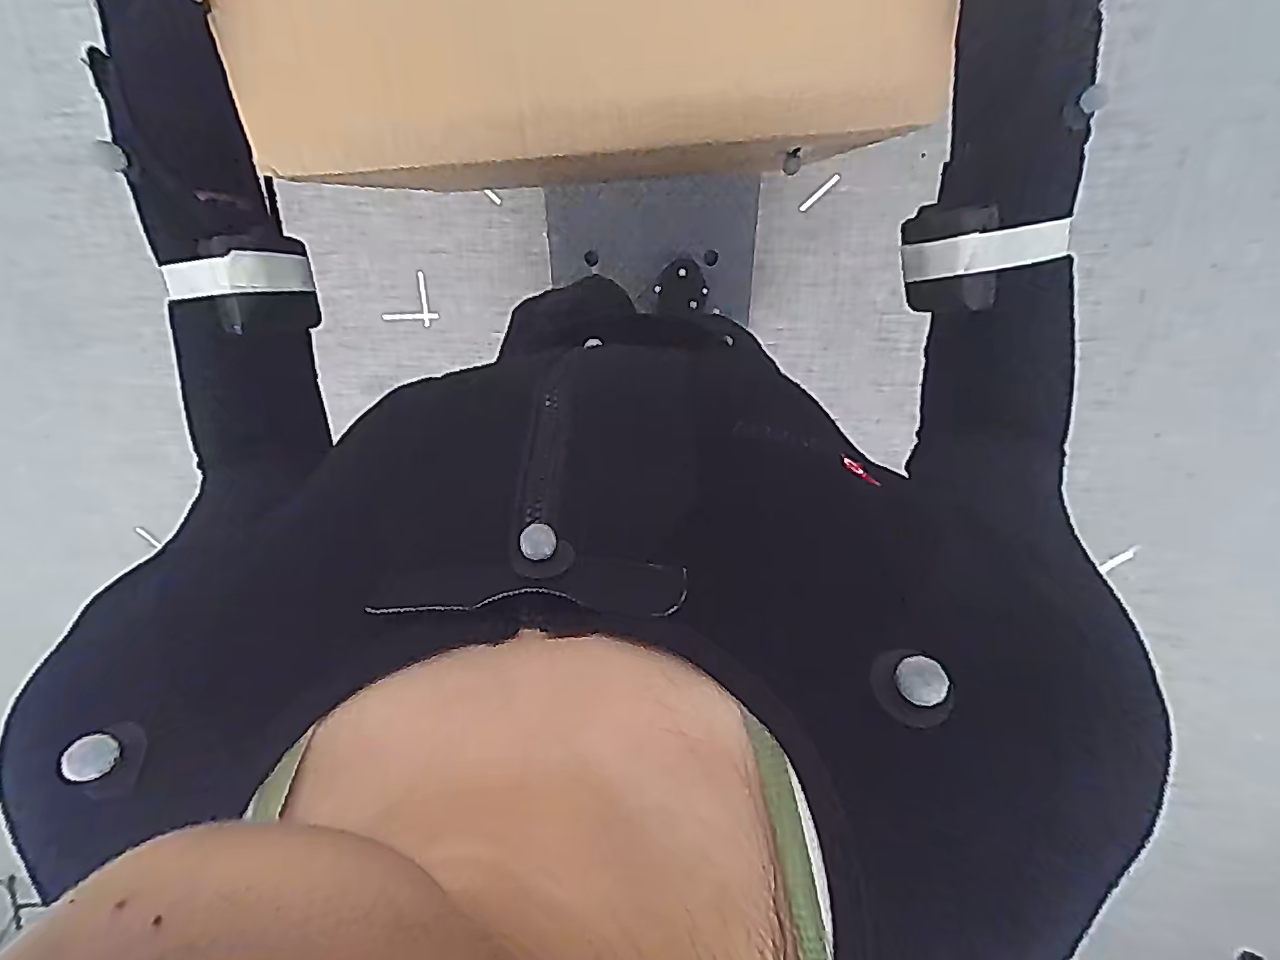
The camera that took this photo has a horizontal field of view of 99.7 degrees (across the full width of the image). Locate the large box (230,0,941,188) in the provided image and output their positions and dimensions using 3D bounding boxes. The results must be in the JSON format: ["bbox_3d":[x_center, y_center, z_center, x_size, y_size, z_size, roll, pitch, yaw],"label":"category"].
[{"bbox_3d":[-0.033,-0.408,0.397,0.408,0.320,0.320,-3,116,3],"label":"large box"}]
